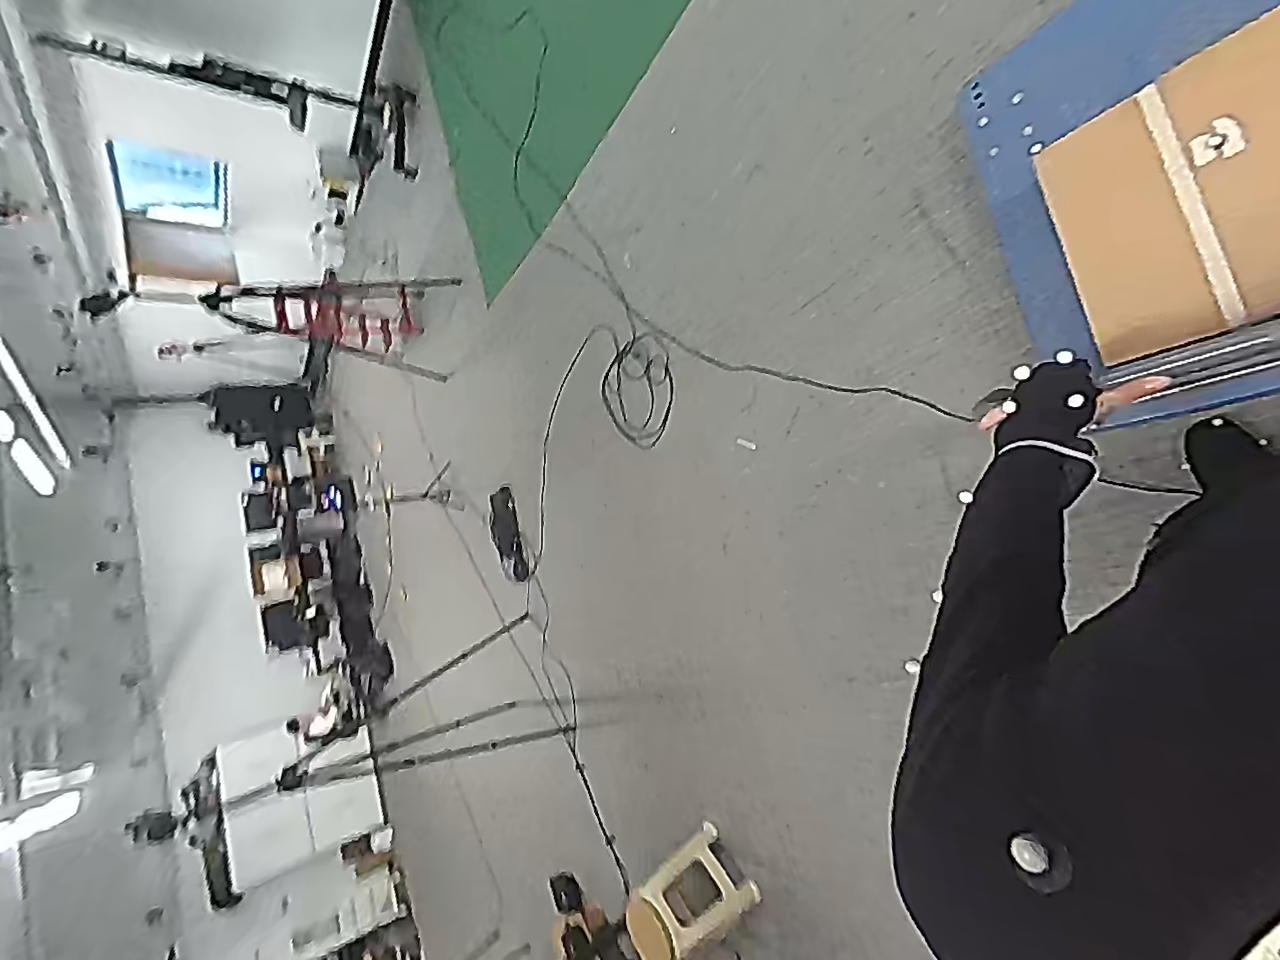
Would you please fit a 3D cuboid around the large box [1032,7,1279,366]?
[{"bbox_3d":[0.959,-0.444,0.926,0.320,0.320,0.408,-22,78,49],"label":"large box"}]
